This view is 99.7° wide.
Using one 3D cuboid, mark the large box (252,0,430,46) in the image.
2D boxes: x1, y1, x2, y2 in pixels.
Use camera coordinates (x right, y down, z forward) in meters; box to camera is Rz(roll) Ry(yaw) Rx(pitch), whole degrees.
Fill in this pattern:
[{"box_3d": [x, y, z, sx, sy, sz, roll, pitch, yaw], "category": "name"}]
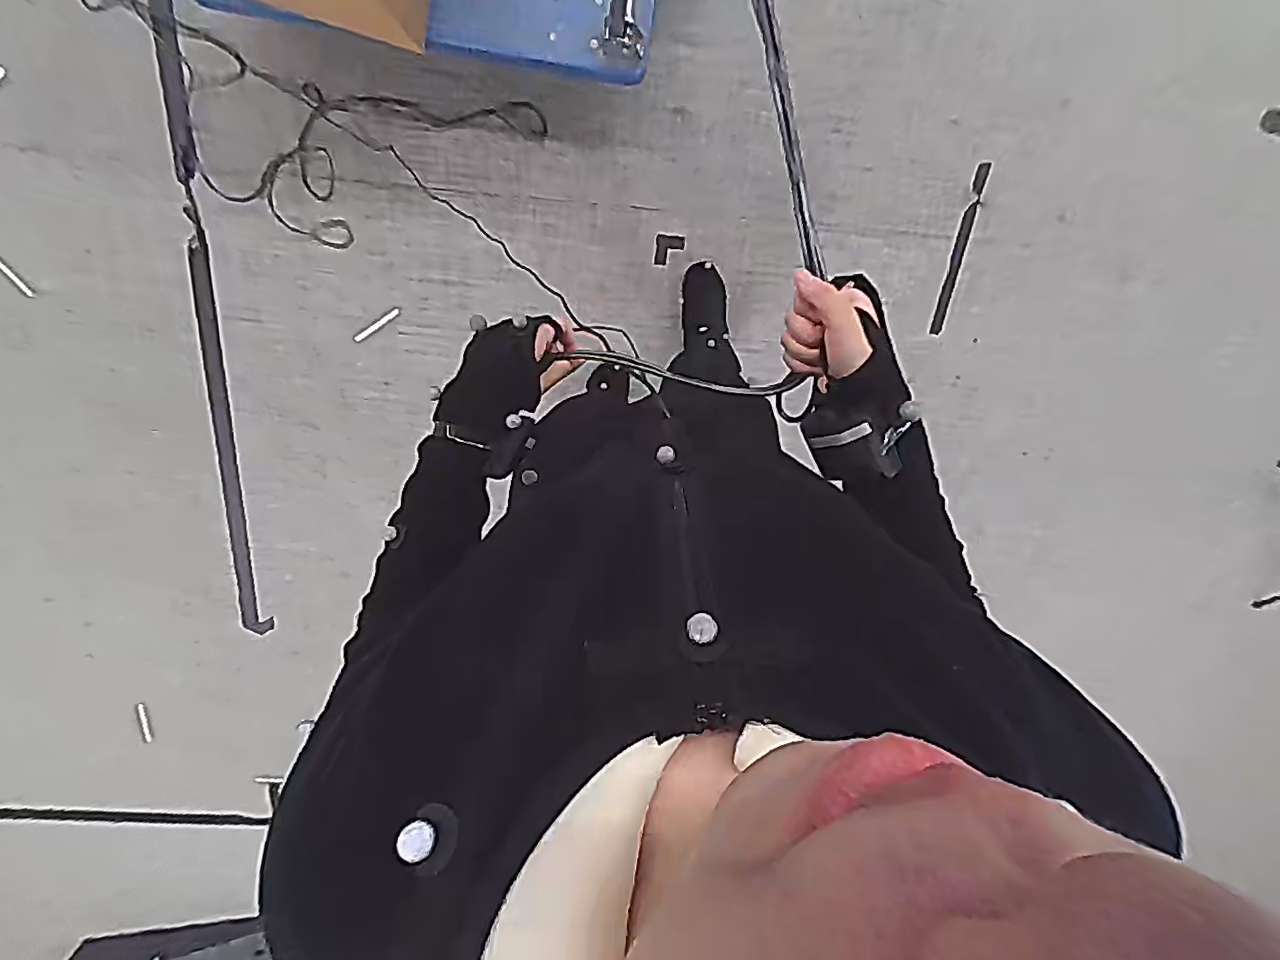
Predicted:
[{"box_3d": [-0.558, -0.942, 0.814, 0.408, 0.320, 0.320, 12, 108, -6], "category": "large box"}]
